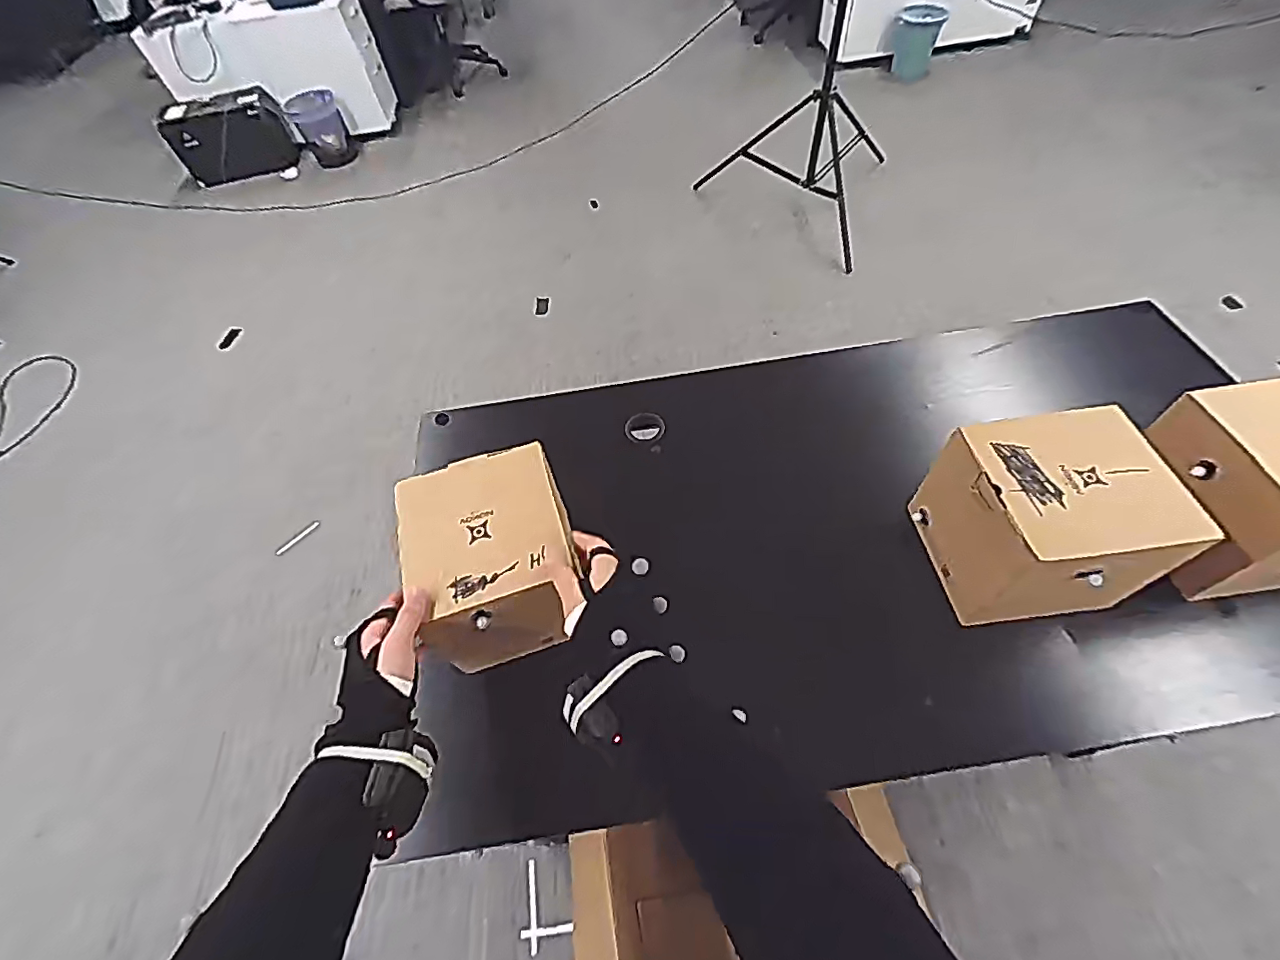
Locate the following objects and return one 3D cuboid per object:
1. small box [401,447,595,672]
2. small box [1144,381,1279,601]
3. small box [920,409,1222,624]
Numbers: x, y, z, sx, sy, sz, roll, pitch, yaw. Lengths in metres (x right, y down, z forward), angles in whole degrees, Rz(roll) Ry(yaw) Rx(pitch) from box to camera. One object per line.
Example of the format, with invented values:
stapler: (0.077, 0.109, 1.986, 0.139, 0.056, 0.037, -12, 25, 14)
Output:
small box: (-0.157, 0.096, 0.624, 0.168, 0.176, 0.179, -17, 57, -6)
small box: (0.680, 0.012, 0.593, 0.168, 0.176, 0.179, -8, 55, 1)
small box: (0.437, 0.047, 0.596, 0.179, 0.176, 0.168, -7, 55, 0)
